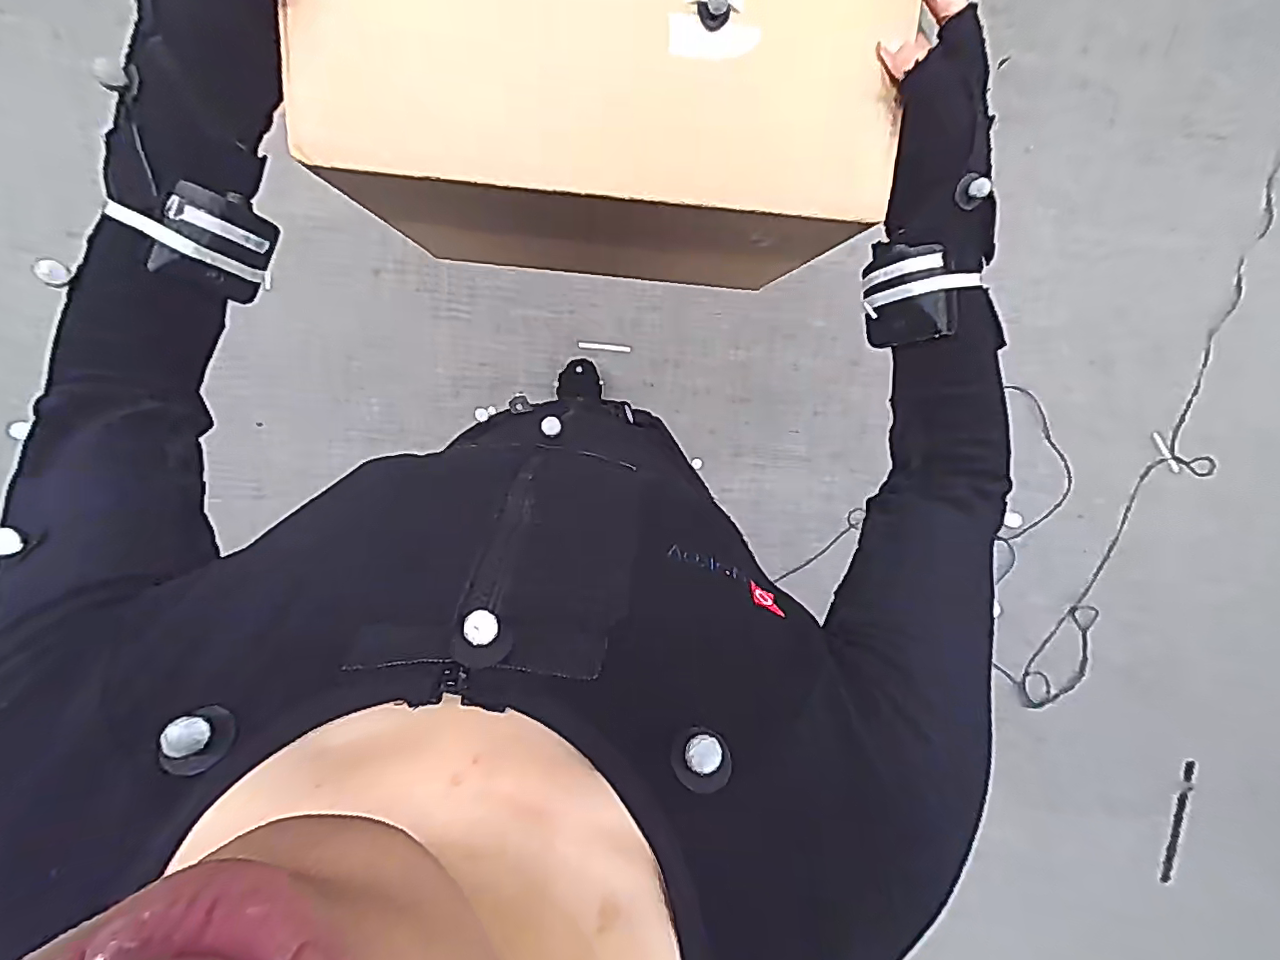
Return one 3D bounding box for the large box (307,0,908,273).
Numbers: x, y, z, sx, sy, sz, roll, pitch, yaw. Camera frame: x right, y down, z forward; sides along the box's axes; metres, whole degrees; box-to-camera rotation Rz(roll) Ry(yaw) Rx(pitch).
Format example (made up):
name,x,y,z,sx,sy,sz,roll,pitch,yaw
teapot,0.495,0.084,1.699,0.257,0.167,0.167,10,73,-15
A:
name,x,y,z,sx,sy,sz,roll,pitch,yaw
large box,-0.024,-0.389,0.495,0.408,0.320,0.320,3,102,-5
